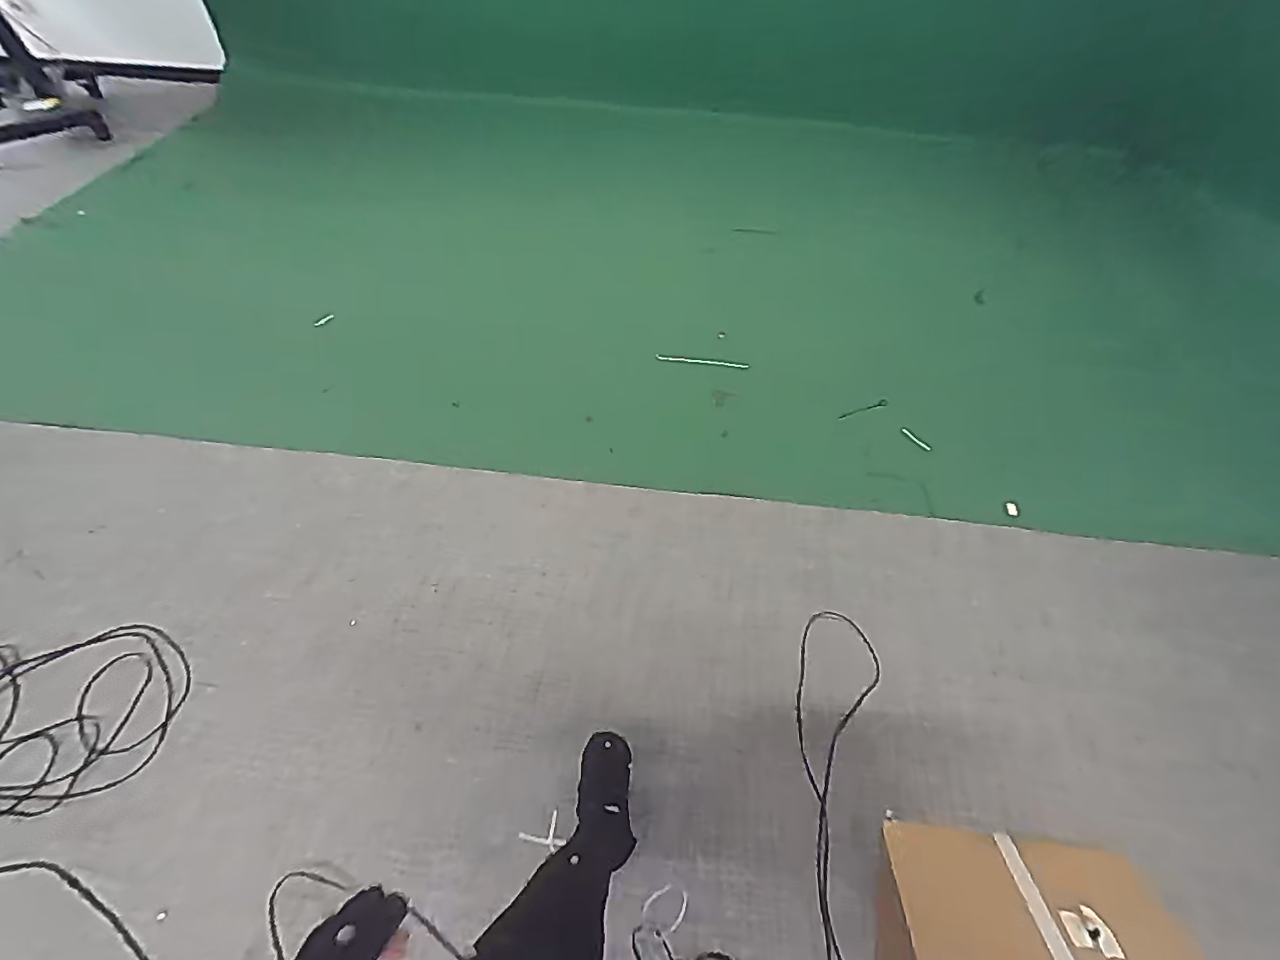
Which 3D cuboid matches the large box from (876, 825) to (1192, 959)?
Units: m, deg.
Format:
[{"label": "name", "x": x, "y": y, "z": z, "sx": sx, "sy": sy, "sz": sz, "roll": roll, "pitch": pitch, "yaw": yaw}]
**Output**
[{"label": "large box", "x": 0.477, "y": 0.705, "z": 0.623, "sx": 0.320, "sy": 0.320, "sz": 0.408, "roll": 1, "pitch": 12, "yaw": 13}]
